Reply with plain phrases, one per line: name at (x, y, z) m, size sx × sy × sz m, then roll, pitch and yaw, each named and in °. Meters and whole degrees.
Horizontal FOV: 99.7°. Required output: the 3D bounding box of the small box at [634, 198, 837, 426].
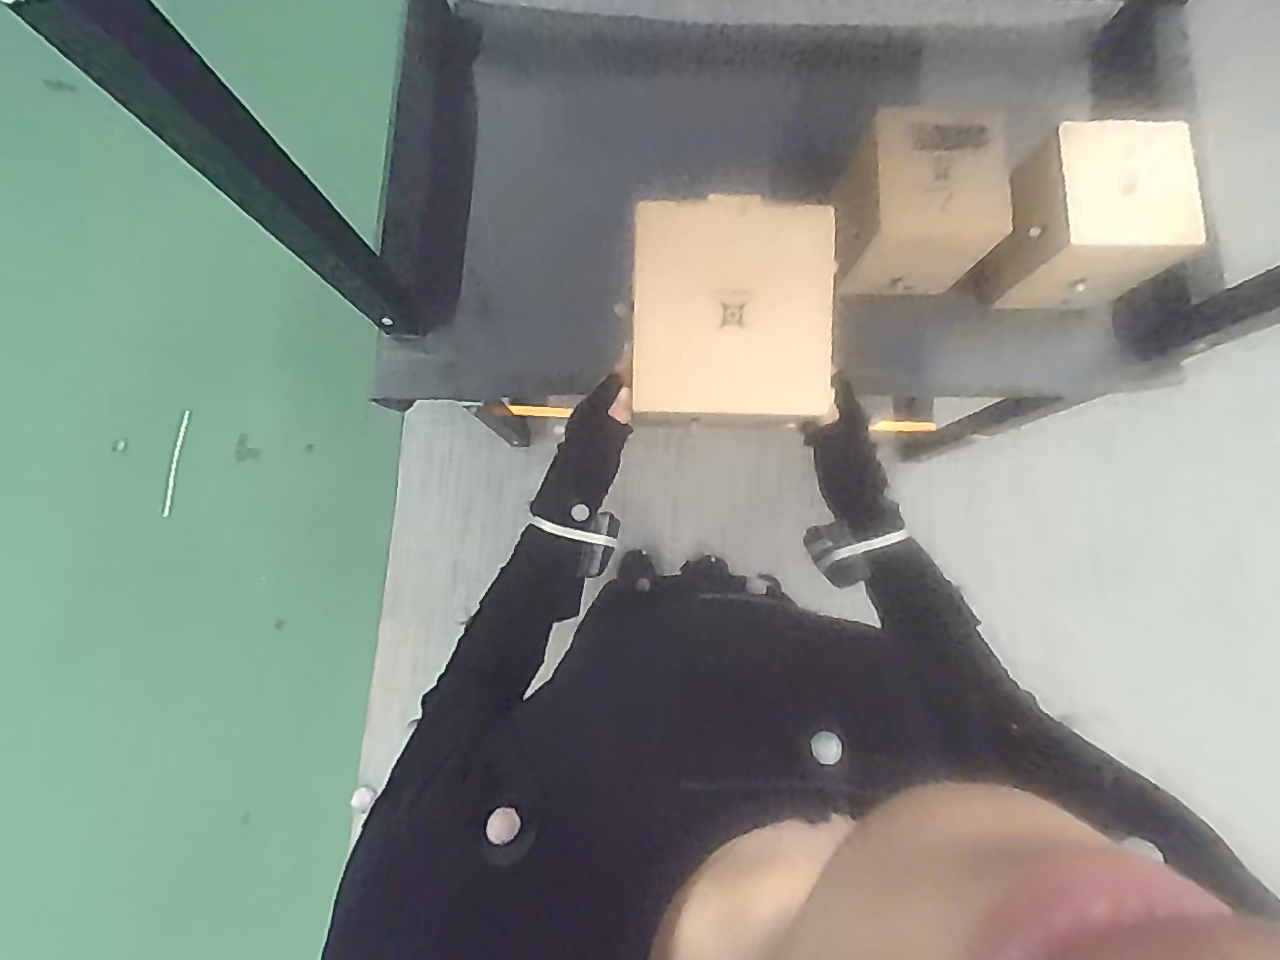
small box at (0.079, -0.145, 0.524) m, size 0.168 × 0.176 × 0.179 m, roll 1°, pitch 90°, yaw 0°

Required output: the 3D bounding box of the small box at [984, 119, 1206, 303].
small box at (0.616, -0.363, 0.757) m, size 0.168 × 0.176 × 0.179 m, roll 0°, pitch 81°, yaw 1°
